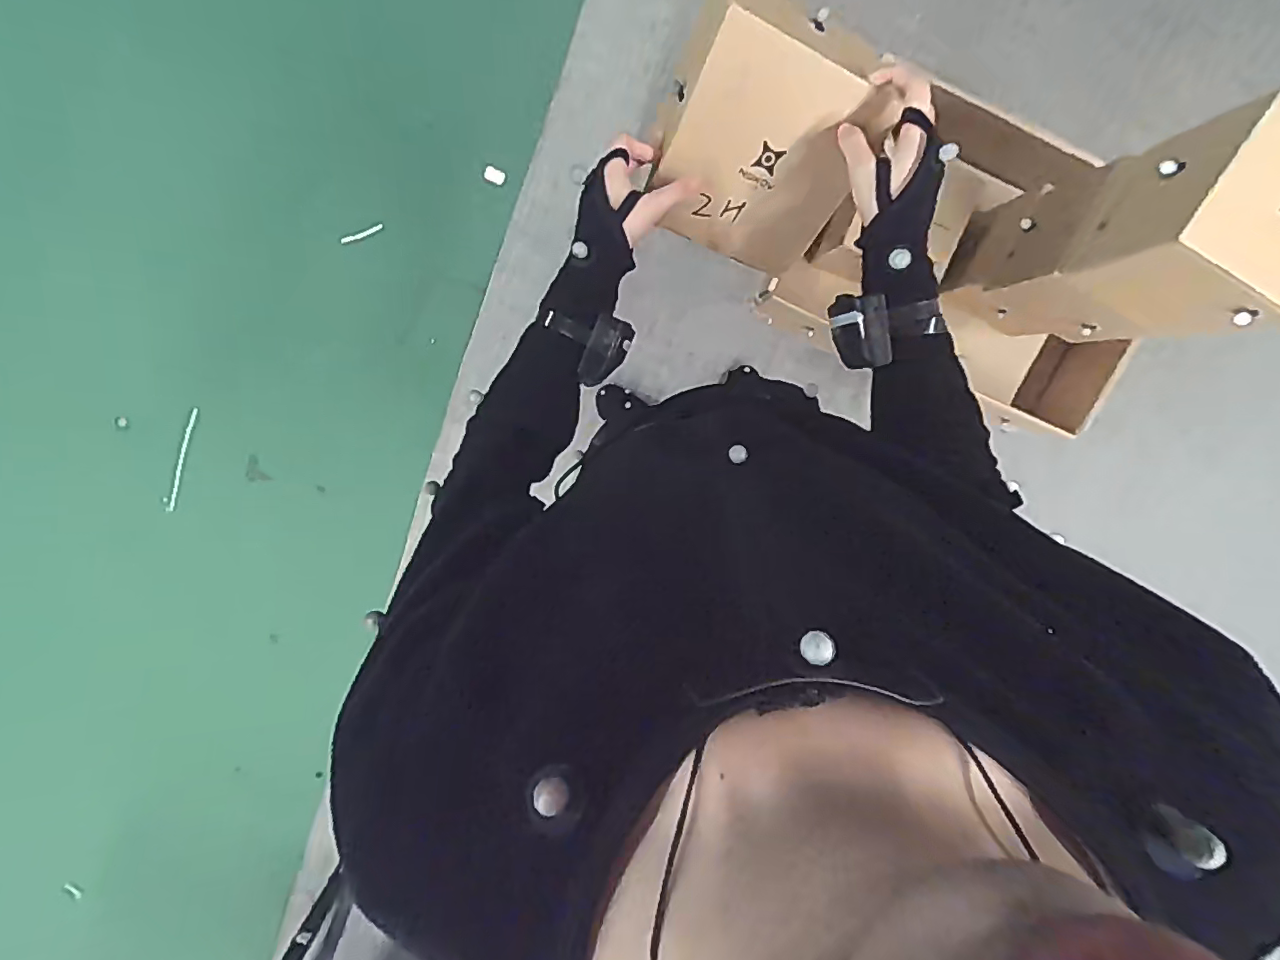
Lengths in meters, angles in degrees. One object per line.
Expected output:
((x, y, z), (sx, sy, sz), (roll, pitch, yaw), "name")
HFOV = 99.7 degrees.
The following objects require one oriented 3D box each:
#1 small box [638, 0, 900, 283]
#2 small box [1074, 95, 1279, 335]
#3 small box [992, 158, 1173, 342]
((0.106, -0.335, 0.521), (0.168, 0.176, 0.179), (16, 142, -16), "small box")
((0.659, -0.276, 0.610), (0.179, 0.176, 0.168), (29, 100, -4), "small box")
((0.661, -0.309, 0.768), (0.179, 0.176, 0.168), (27, 101, -3), "small box")
